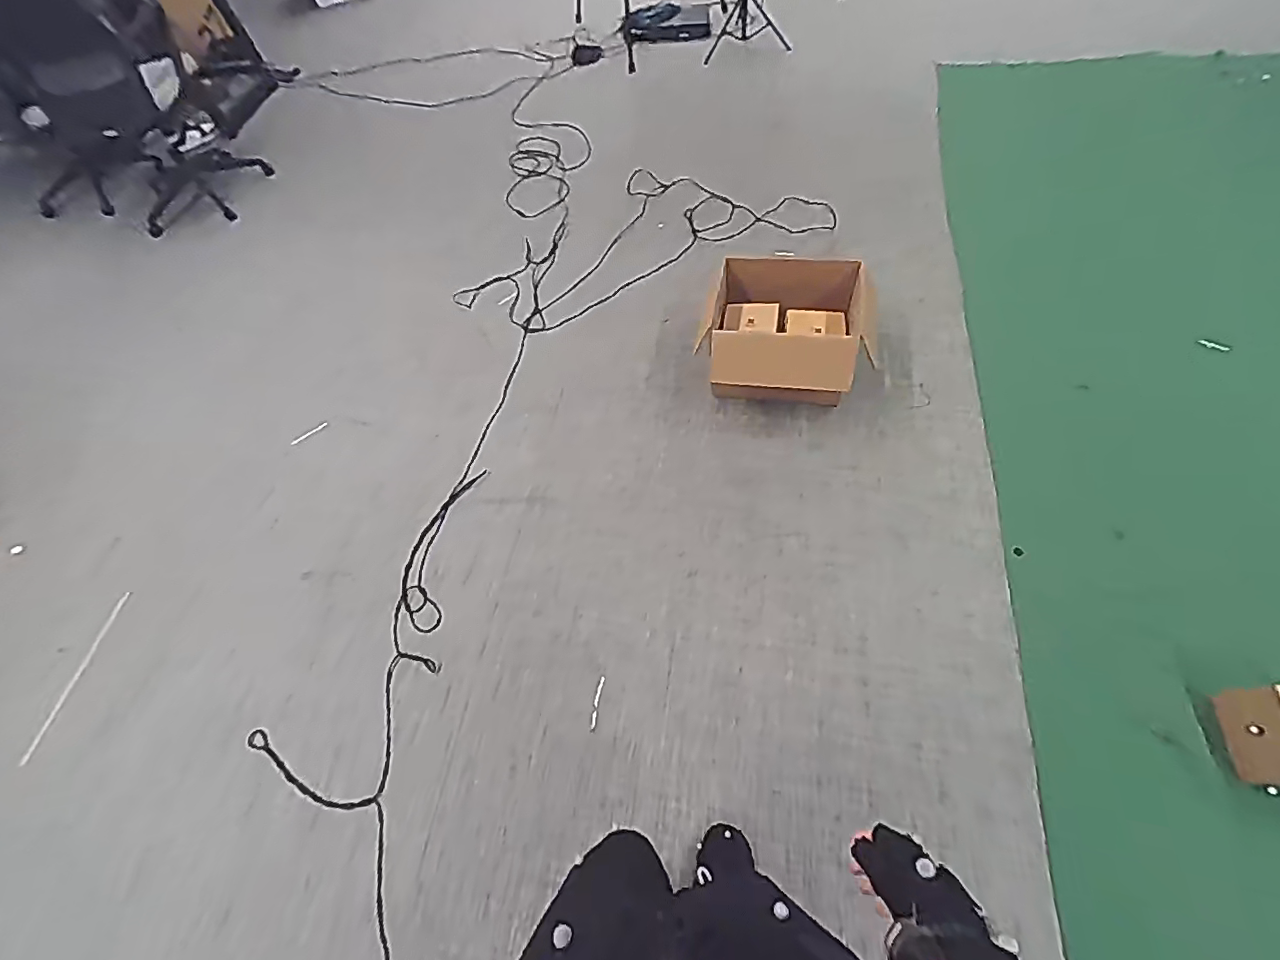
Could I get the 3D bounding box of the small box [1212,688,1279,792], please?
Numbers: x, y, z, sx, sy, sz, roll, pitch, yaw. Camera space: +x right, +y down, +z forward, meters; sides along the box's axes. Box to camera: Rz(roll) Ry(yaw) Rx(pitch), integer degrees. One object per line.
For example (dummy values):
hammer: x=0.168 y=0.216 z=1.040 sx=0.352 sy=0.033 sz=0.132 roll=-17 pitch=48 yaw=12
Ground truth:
small box: x=1.330 y=0.532 z=1.083 sx=0.168 sy=0.176 sz=0.179 roll=3 pitch=60 yaw=9
